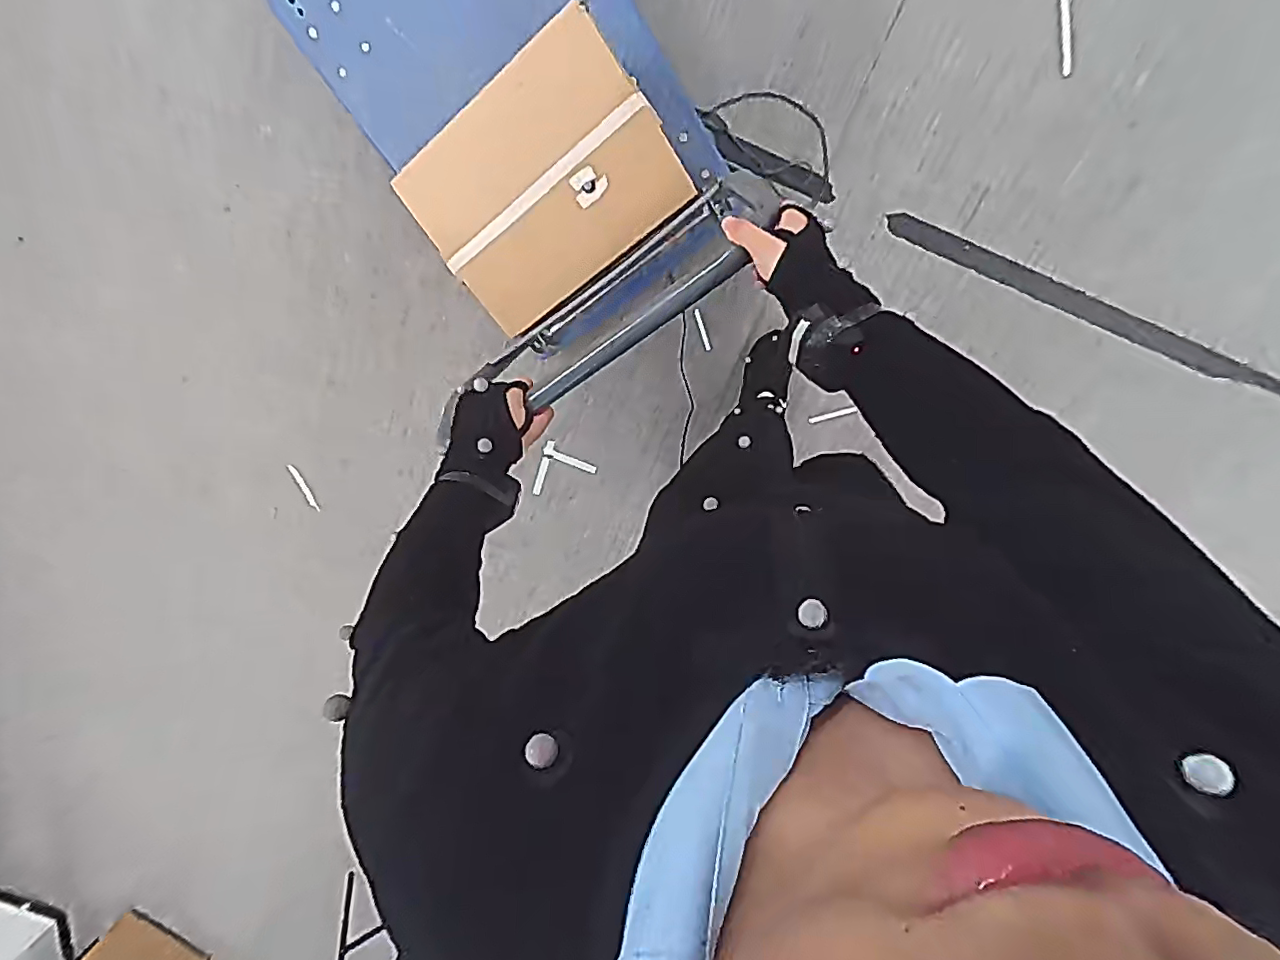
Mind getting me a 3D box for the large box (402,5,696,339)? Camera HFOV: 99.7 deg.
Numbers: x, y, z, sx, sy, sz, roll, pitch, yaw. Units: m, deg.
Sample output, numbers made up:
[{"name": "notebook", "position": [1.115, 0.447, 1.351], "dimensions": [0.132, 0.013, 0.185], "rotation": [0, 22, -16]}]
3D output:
[{"name": "large box", "position": [-0.141, -0.526, 1.015], "dimensions": [0.408, 0.320, 0.320], "rotation": [-33, 107, 17]}]
